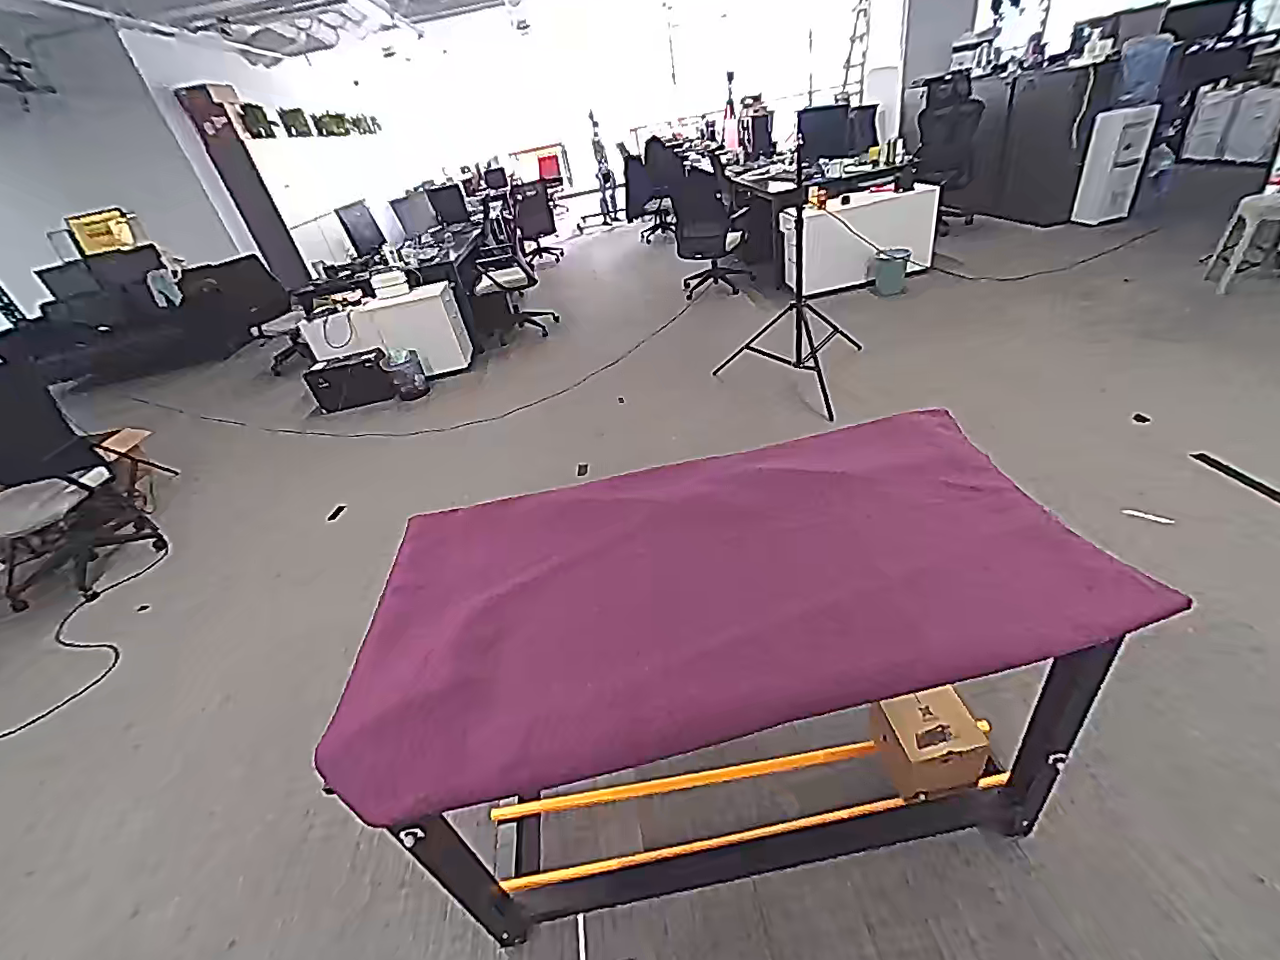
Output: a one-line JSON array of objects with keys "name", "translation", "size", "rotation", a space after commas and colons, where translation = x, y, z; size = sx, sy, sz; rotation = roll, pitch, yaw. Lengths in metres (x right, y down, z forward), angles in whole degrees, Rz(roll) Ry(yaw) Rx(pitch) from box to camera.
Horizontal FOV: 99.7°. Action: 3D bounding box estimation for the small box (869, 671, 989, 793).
[{"name": "small box", "translation": [0.620, 0.556, 1.182], "size": [0.168, 0.176, 0.179], "rotation": [-13, 33, 1]}]
